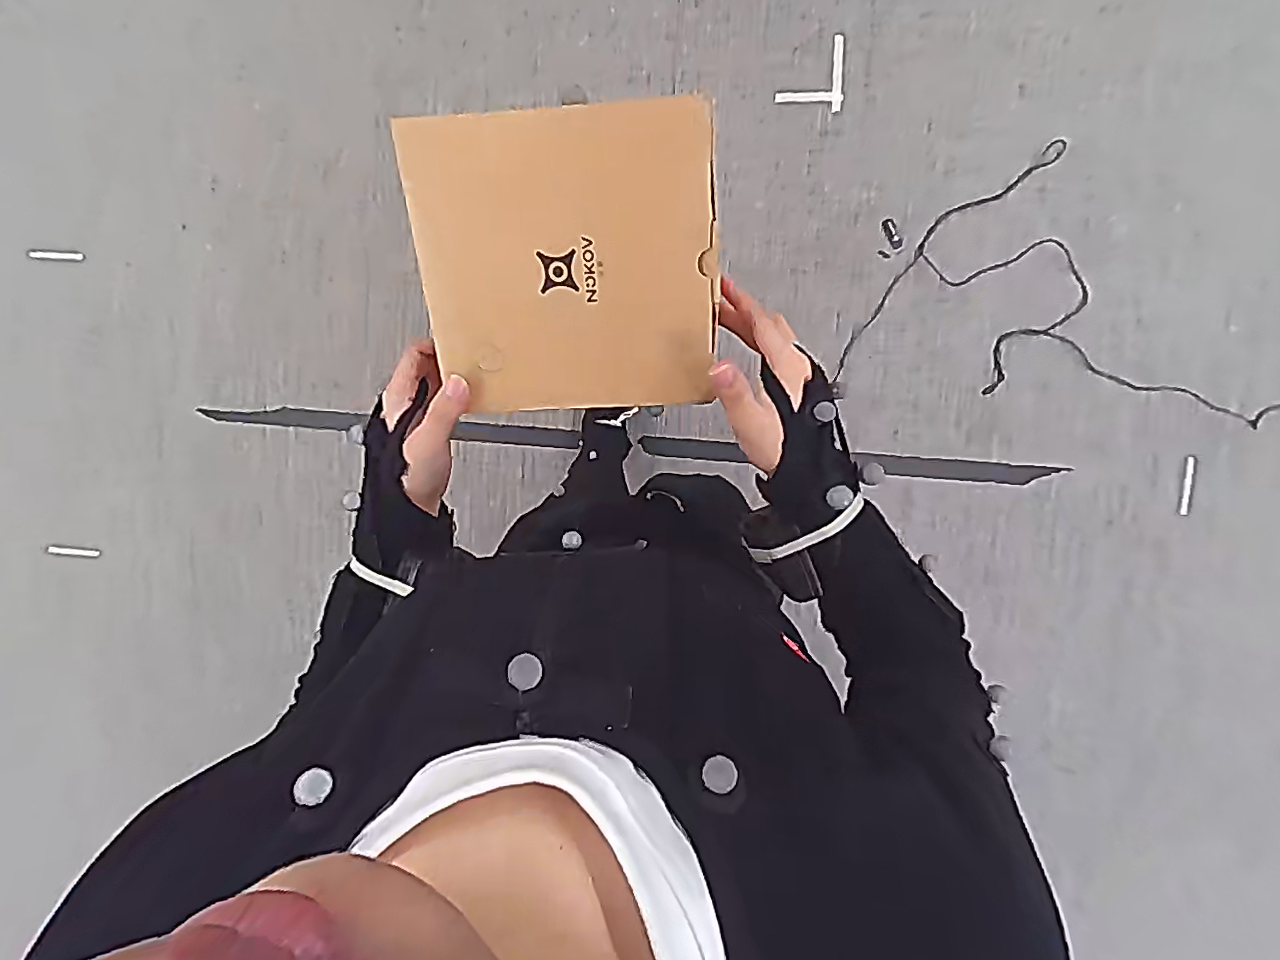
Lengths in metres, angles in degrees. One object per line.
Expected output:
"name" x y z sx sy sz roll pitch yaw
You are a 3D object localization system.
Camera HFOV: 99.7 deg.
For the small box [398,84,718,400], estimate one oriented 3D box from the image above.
"small box" -0.038 -0.157 0.389 0.179 0.176 0.168 -2 112 3
